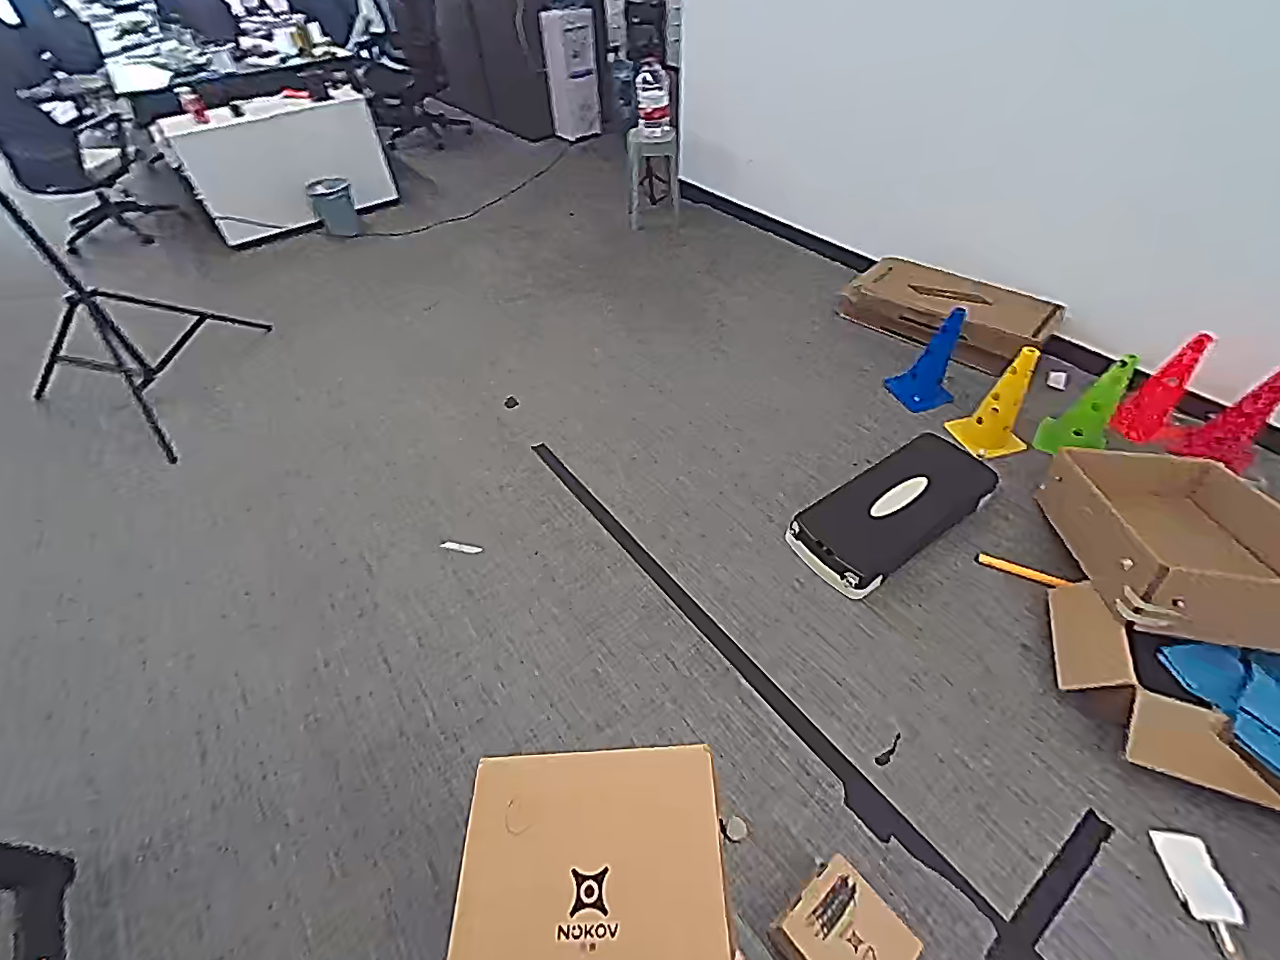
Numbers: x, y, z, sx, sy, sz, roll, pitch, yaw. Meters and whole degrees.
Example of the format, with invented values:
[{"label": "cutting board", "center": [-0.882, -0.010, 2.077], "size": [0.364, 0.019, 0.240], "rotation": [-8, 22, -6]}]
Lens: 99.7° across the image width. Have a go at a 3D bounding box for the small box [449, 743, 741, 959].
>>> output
[{"label": "small box", "center": [-0.017, 0.302, 0.372], "size": [0.168, 0.176, 0.179], "rotation": [-7, 49, 5]}]
